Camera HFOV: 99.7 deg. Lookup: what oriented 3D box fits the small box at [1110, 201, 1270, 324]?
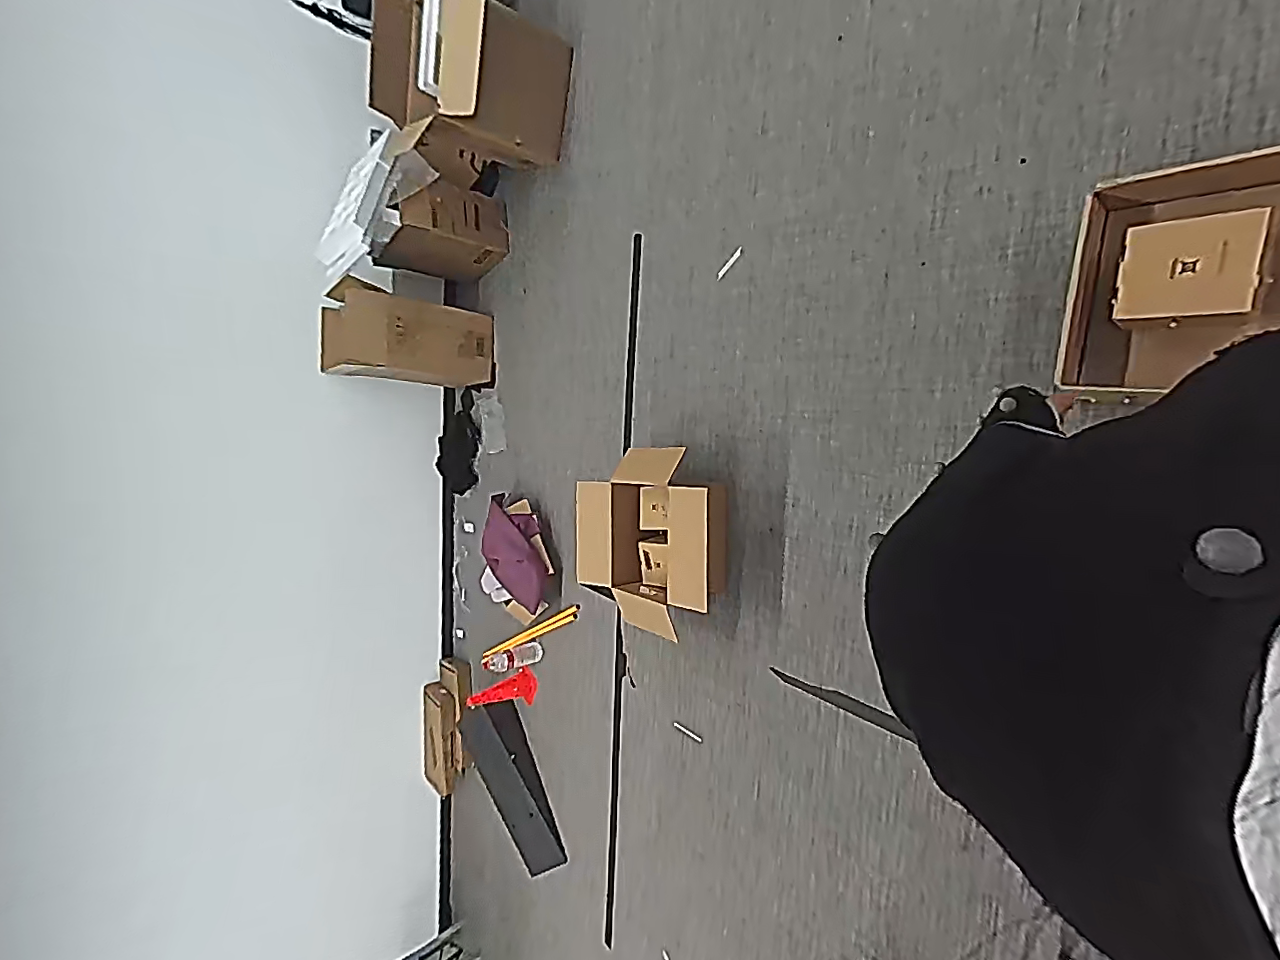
[{"bbox_3d":[0.995,-0.381,0.983,0.179,0.176,0.168,11,103,46],"label":"small box"}]
